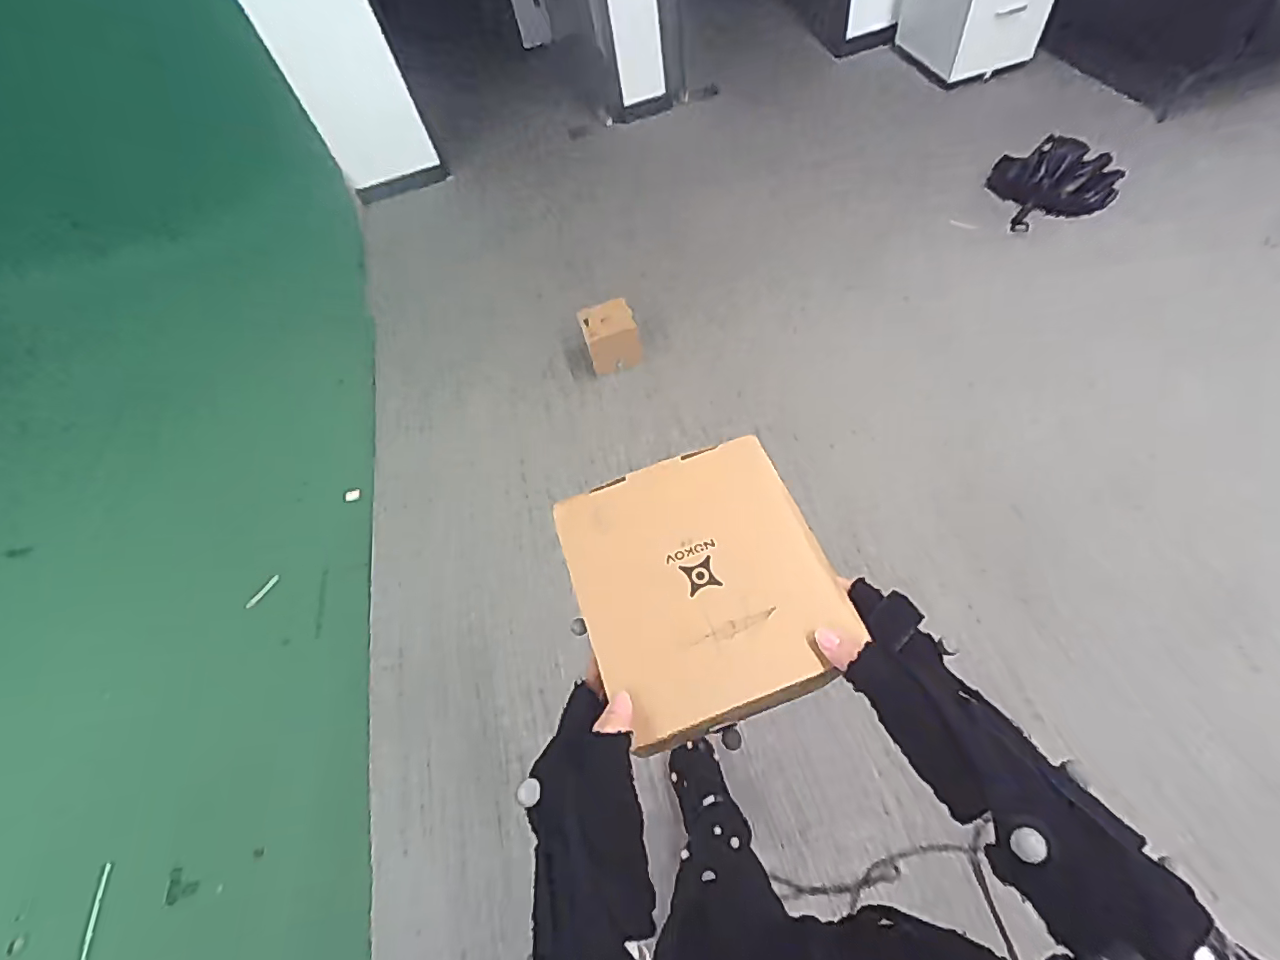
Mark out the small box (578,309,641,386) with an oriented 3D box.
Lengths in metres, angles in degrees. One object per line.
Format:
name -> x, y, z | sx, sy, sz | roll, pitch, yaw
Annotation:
small box -> -0.102, -0.459, 1.887 | 0.179, 0.176, 0.168 | -18, 56, -2
